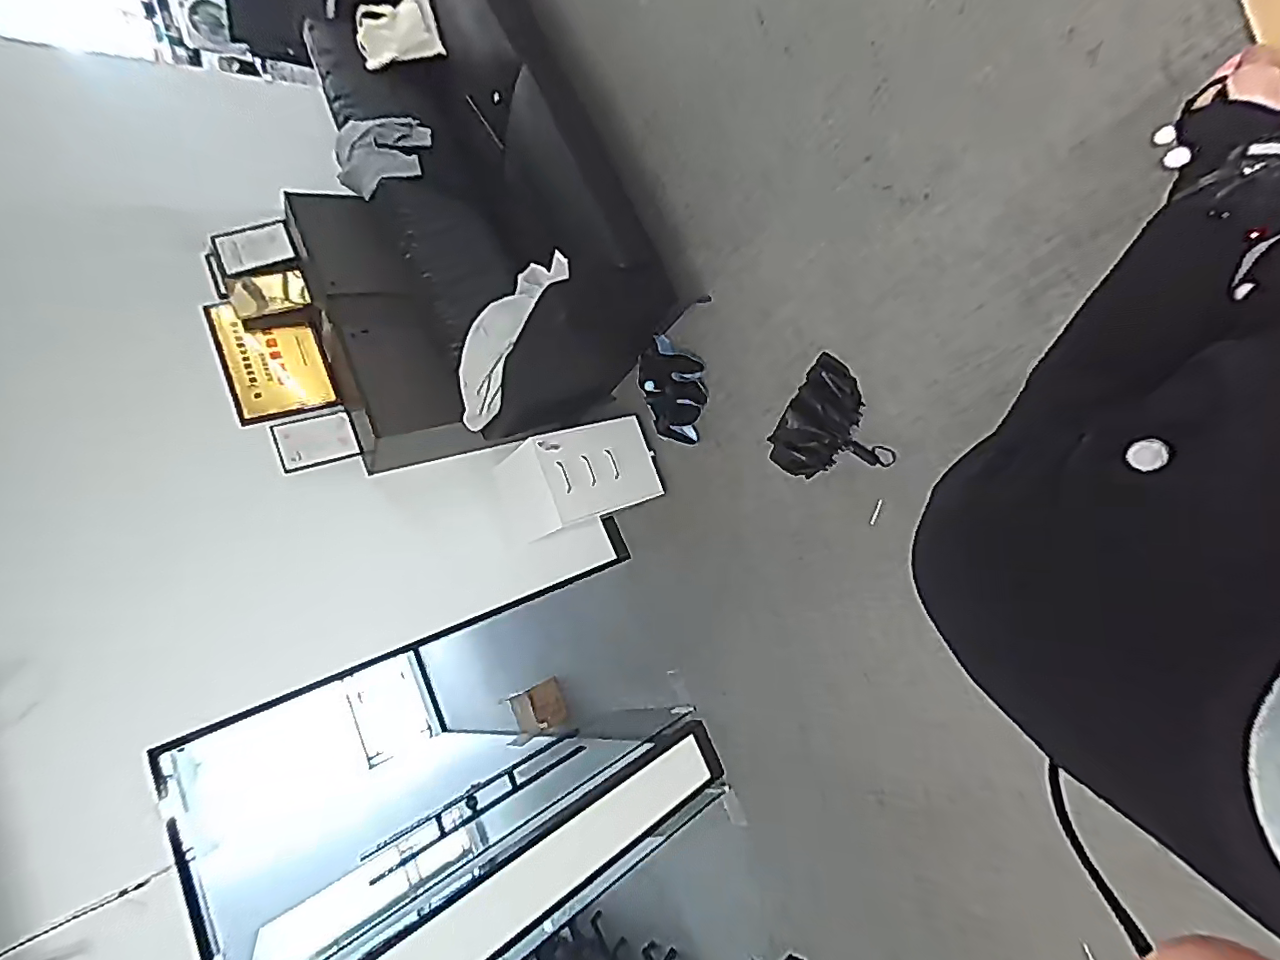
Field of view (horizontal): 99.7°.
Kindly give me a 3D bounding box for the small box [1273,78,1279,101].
[{"bbox_3d":[1.123,-0.591,0.815,0.168,0.176,0.179,-38,74,54],"label":"small box"}]
